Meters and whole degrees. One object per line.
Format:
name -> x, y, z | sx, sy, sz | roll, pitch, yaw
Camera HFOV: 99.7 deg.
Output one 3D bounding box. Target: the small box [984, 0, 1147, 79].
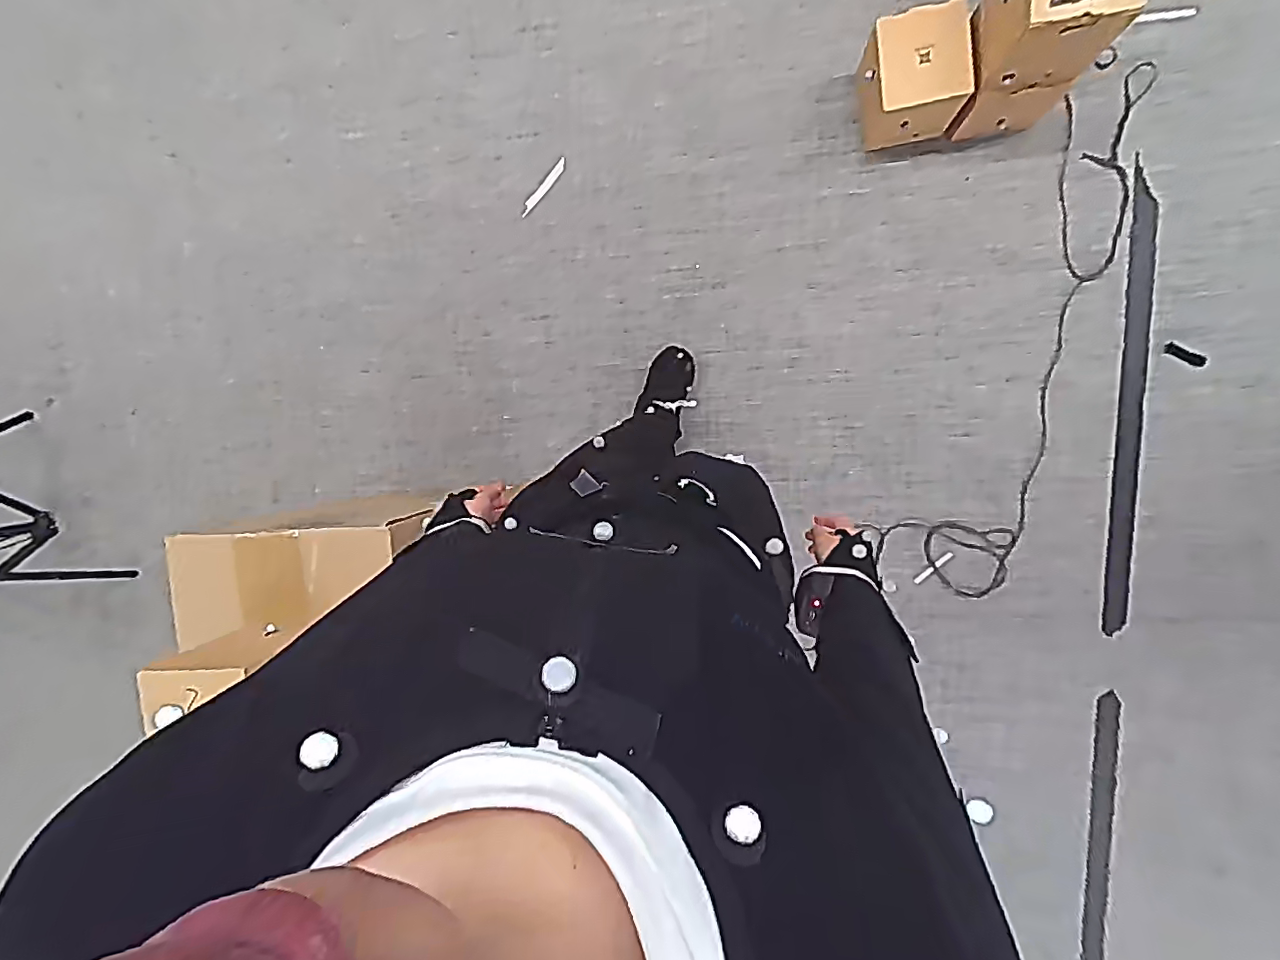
small box -> 0.705, -0.814, 0.908 | 0.168, 0.176, 0.179 | -1, 95, 9
